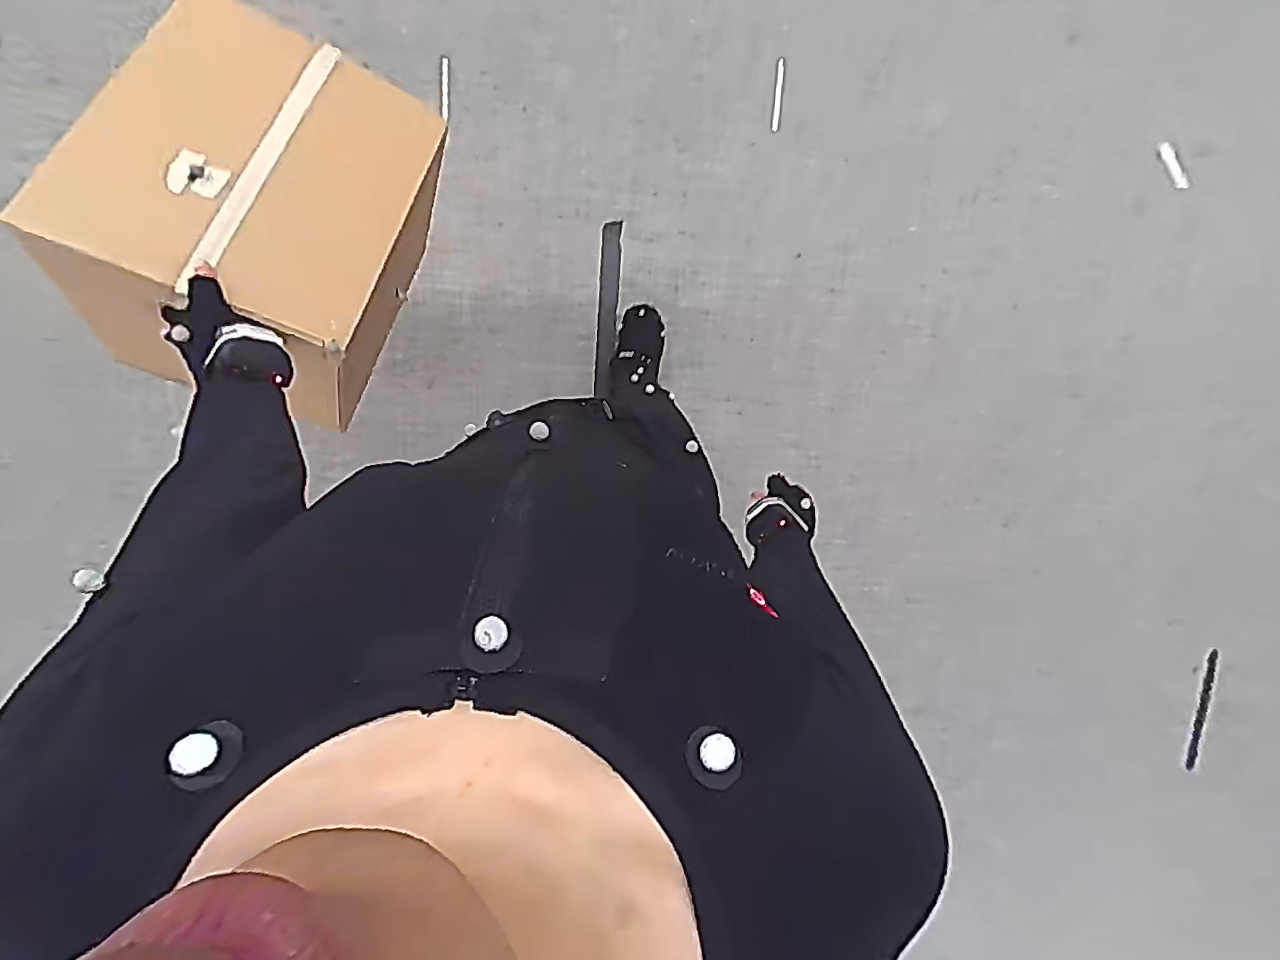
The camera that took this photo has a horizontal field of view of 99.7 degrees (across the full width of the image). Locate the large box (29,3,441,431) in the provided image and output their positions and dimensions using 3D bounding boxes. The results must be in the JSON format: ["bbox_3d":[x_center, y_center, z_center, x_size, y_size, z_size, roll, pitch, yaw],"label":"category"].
[{"bbox_3d":[-0.523,-0.342,0.798,0.320,0.320,0.408,19,67,-21],"label":"large box"}]
